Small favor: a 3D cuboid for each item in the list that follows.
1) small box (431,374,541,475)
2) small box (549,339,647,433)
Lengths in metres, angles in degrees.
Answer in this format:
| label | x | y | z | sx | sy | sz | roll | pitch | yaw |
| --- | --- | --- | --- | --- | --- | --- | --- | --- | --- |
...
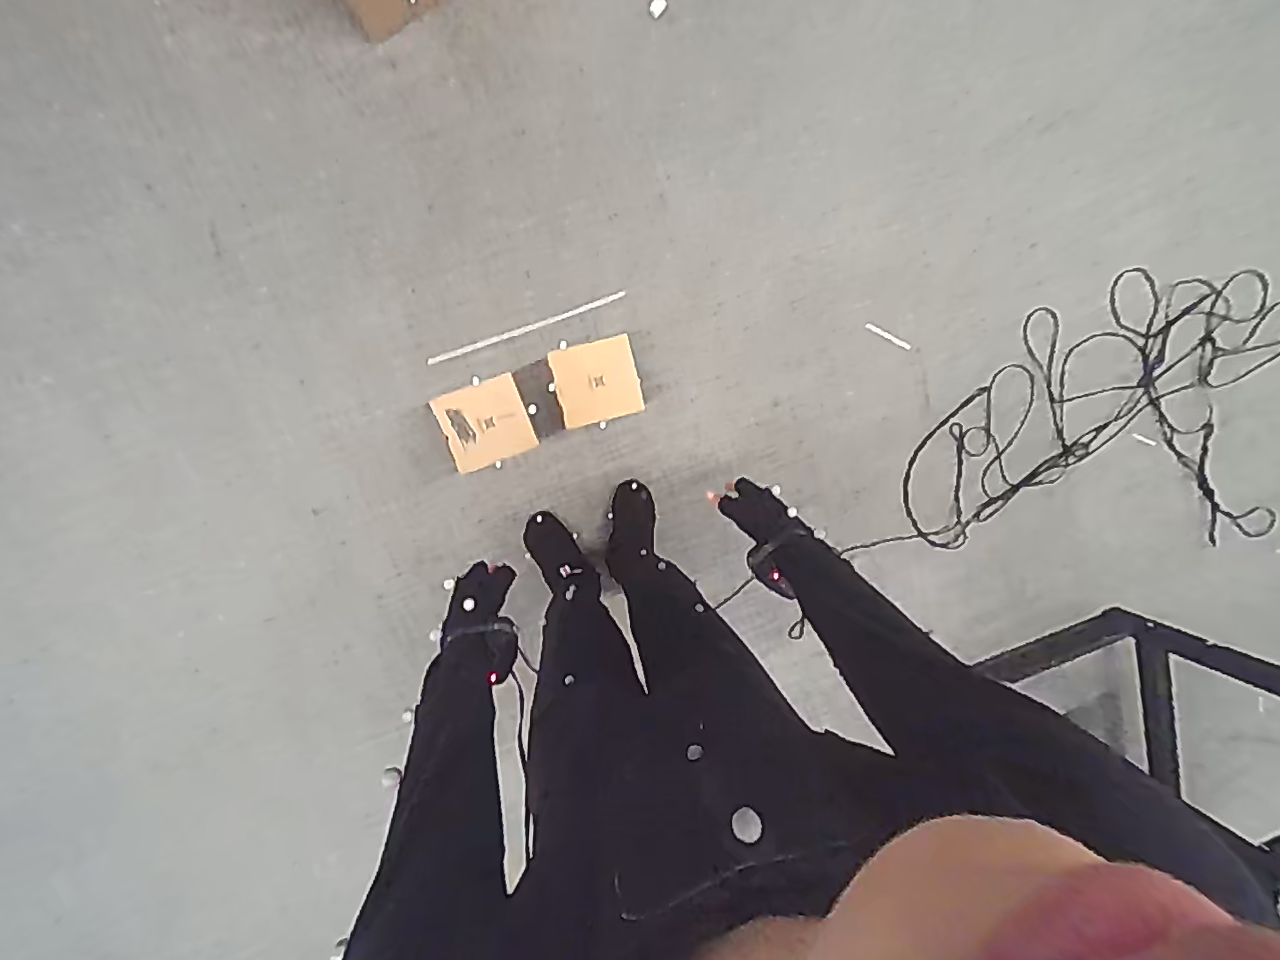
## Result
| label | x | y | z | sx | sy | sz | roll | pitch | yaw |
| --- | --- | --- | --- | --- | --- | --- | --- | --- | --- |
| small box | -0.326 | -0.121 | 1.181 | 0.179 | 0.176 | 0.168 | -21 | 101 | -6 |
| small box | -0.098 | -0.210 | 1.205 | 0.179 | 0.176 | 0.168 | -15 | 101 | -5 |
